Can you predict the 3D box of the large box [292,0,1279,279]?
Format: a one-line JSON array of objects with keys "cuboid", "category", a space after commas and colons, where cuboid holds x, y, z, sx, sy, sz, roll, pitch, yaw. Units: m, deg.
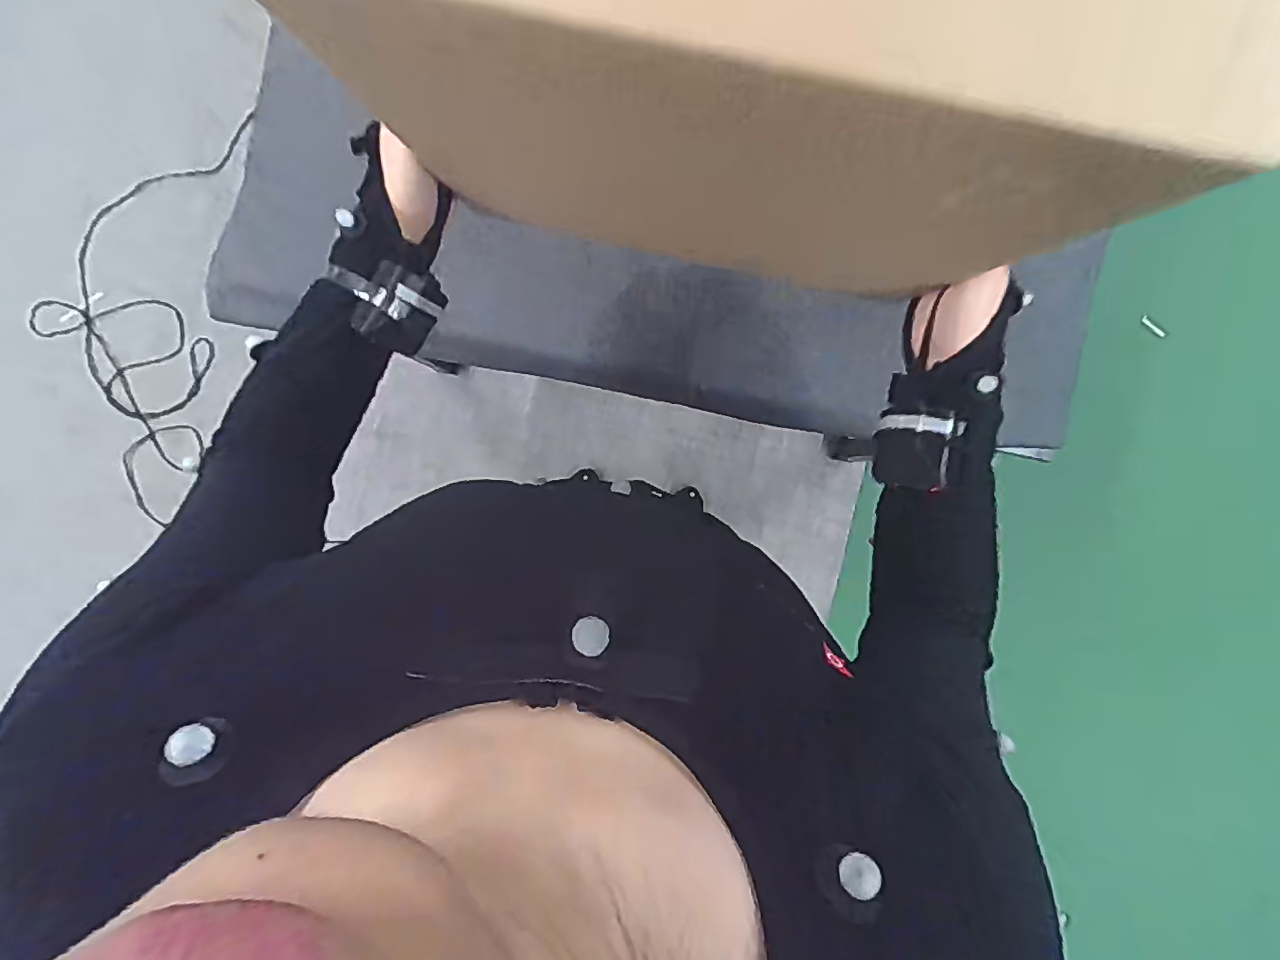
[{"cuboid": [0.066, -0.338, 0.323, 0.408, 0.320, 0.320, 11, 101, -1], "category": "large box"}]
